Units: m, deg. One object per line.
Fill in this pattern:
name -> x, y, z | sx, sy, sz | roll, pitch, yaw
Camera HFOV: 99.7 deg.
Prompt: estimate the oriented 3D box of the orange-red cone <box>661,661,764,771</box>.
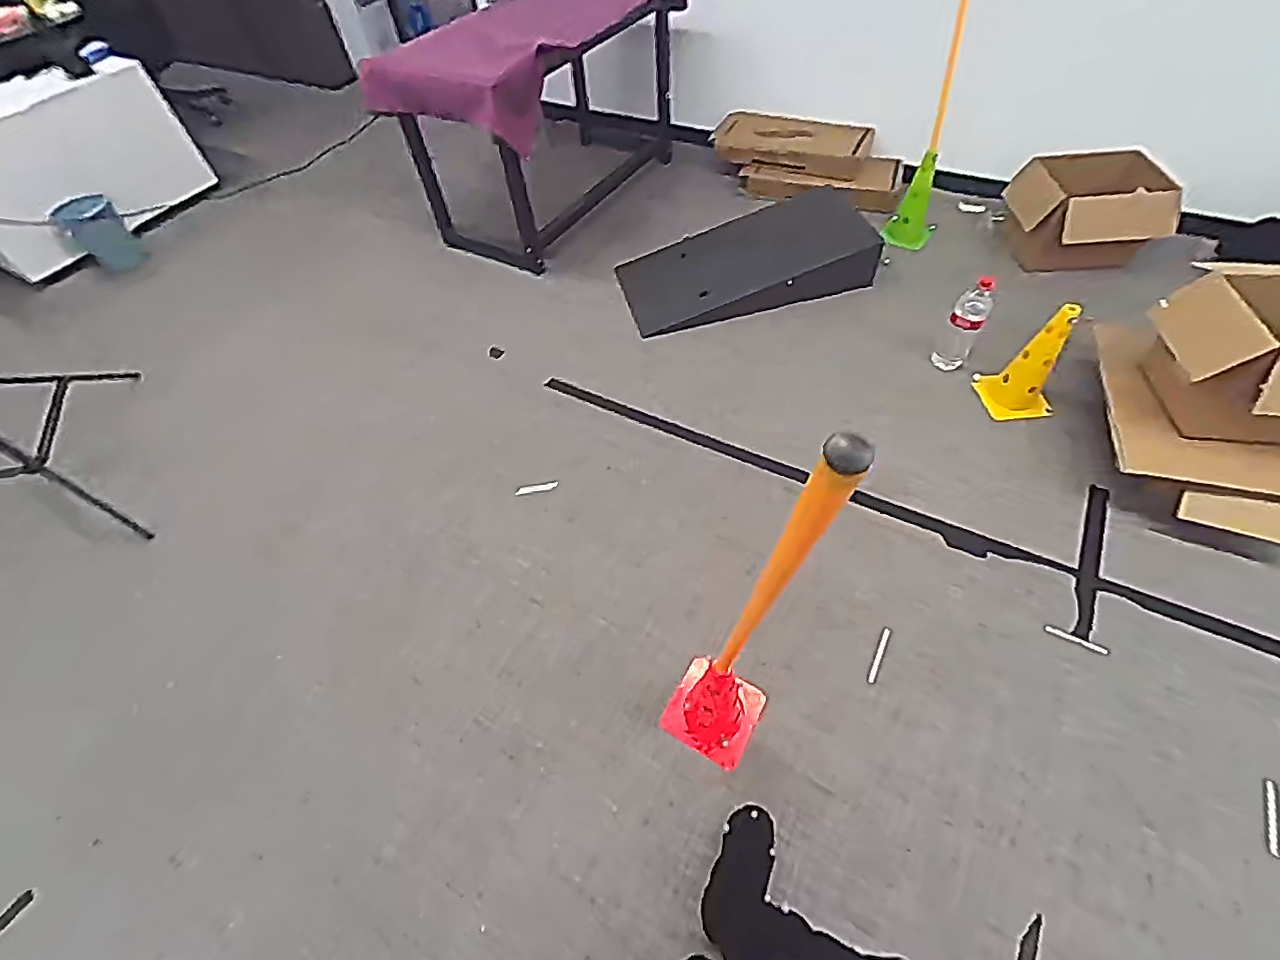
orange-red cone -> 0.164, 0.457, 1.155 | 0.198, 0.360, 0.199 | 27, 60, 21
